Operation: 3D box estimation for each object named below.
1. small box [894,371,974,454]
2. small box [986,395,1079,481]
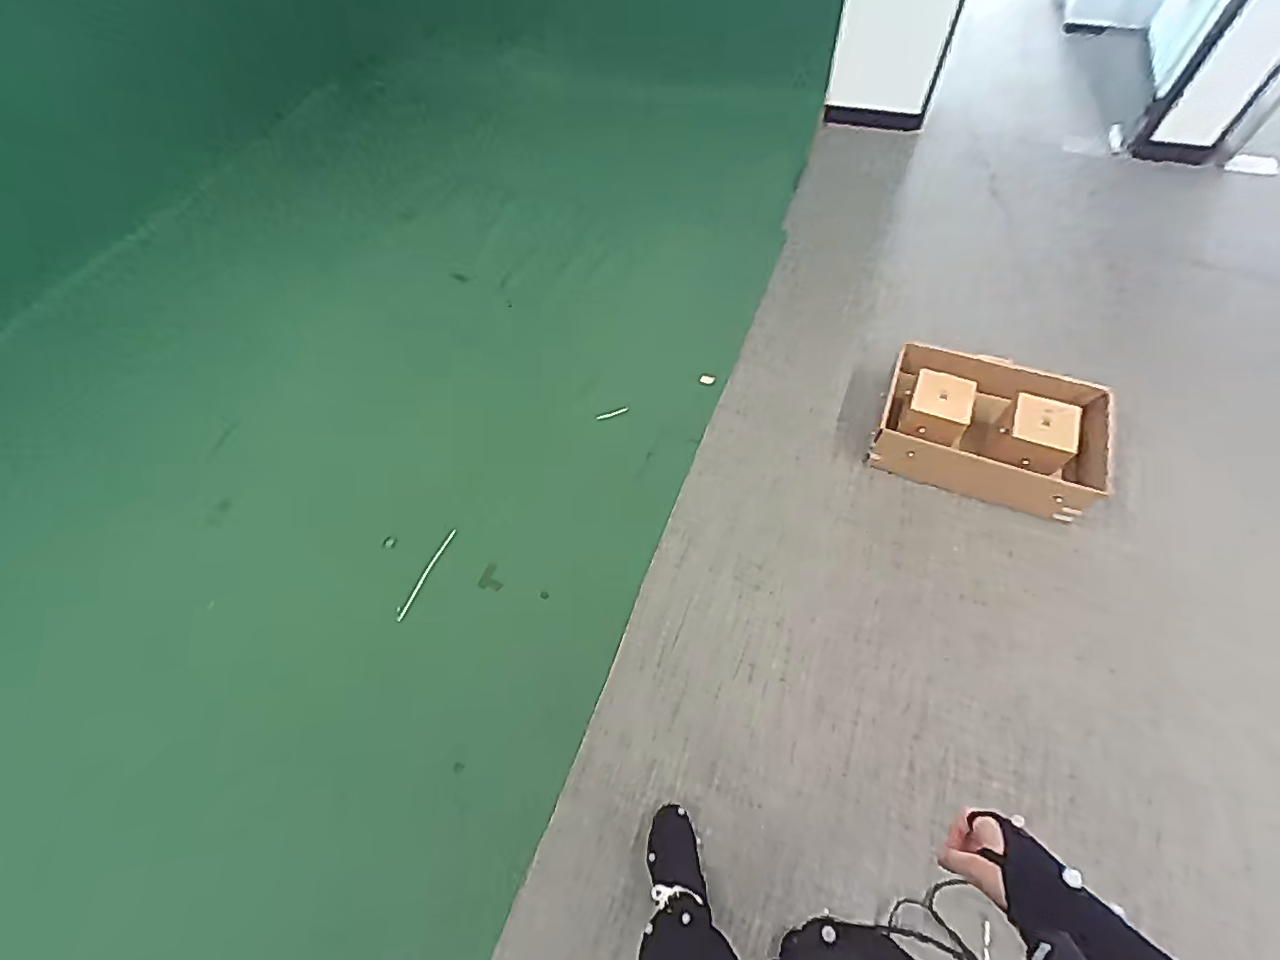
[{"bbox_3d":[0.922,-0.209,1.709,0.168,0.176,0.179,19,62,15],"label":"small box"},{"bbox_3d":[1.180,-0.122,1.636,0.168,0.176,0.179,20,63,16],"label":"small box"}]
